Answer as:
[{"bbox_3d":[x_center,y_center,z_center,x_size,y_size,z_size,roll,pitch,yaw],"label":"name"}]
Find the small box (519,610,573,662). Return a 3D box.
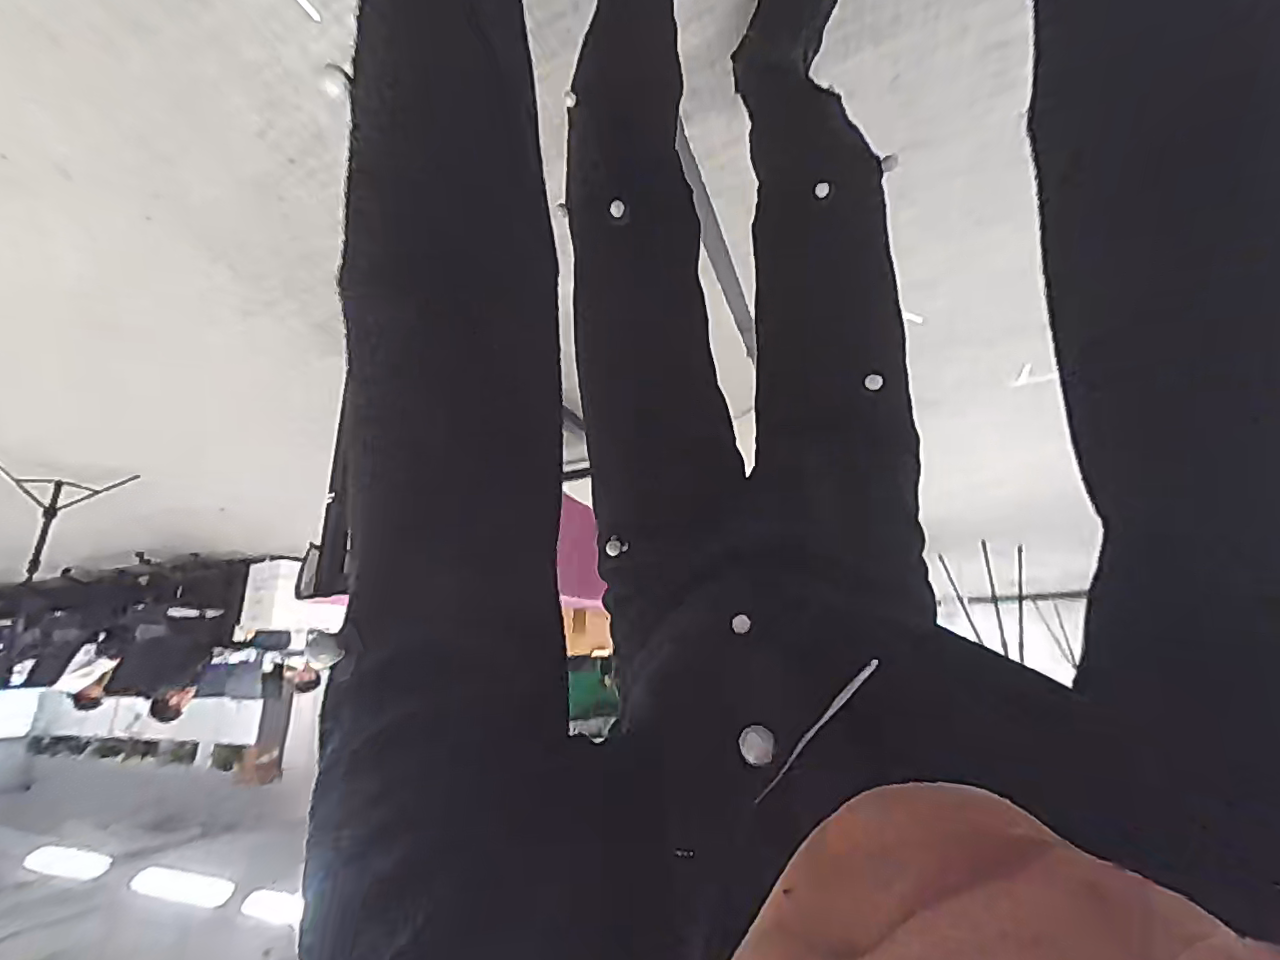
[{"bbox_3d":[-0.361,0.565,1.952,0.179,0.176,0.168,-15,157,34],"label":"small box"}]

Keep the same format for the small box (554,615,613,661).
[{"bbox_3d":[-0.227,0.629,2.154,0.179,0.176,0.168,-14,158,32],"label":"small box"}]
